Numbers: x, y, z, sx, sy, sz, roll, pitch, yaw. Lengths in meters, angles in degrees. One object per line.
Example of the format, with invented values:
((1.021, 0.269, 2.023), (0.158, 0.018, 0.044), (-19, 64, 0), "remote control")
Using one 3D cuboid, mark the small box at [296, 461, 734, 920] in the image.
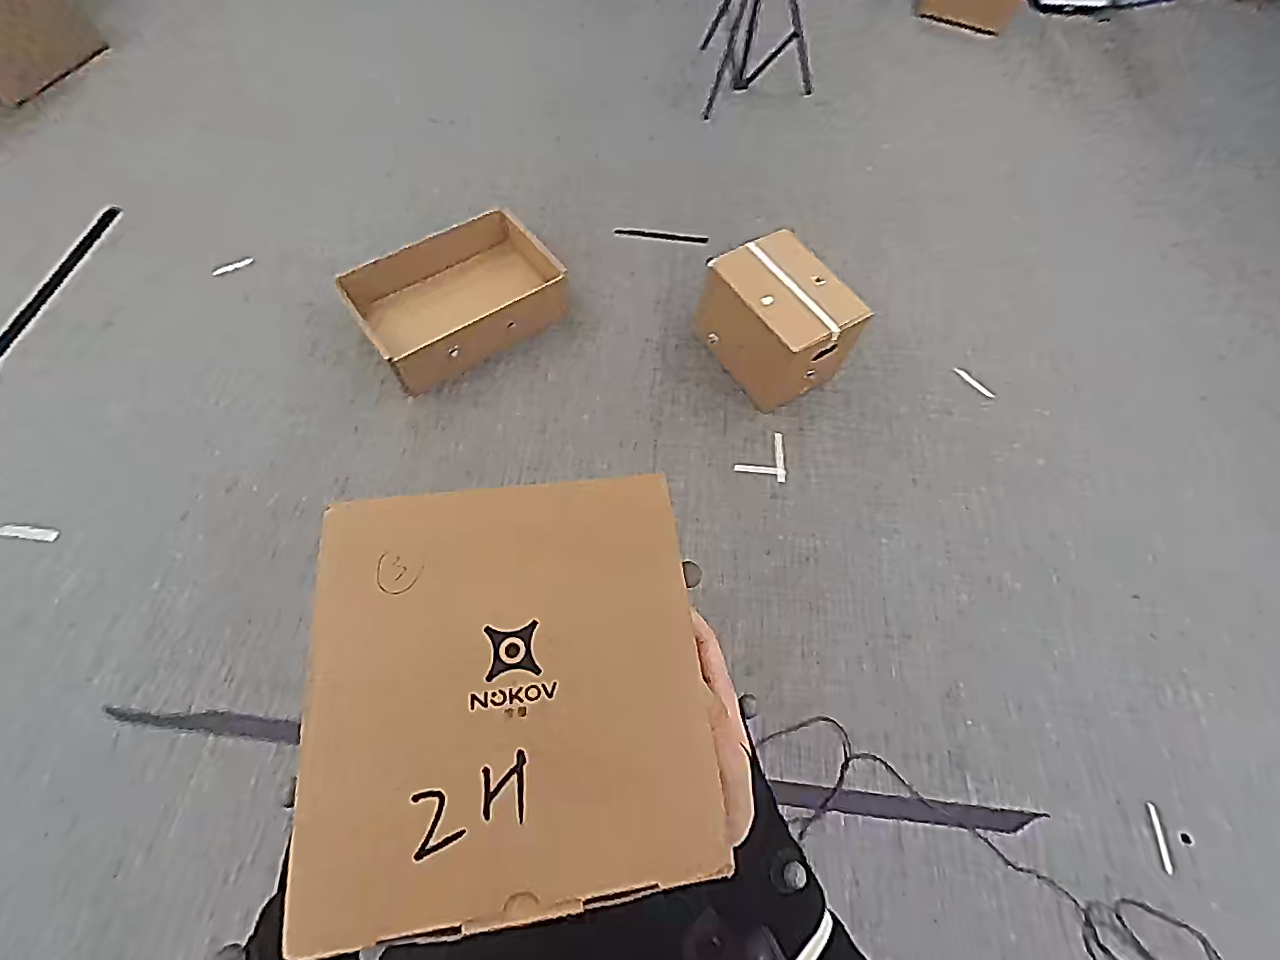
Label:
((-0.061, 0.107, 0.309), (0.168, 0.176, 0.179), (-5, 66, -8), "small box")
